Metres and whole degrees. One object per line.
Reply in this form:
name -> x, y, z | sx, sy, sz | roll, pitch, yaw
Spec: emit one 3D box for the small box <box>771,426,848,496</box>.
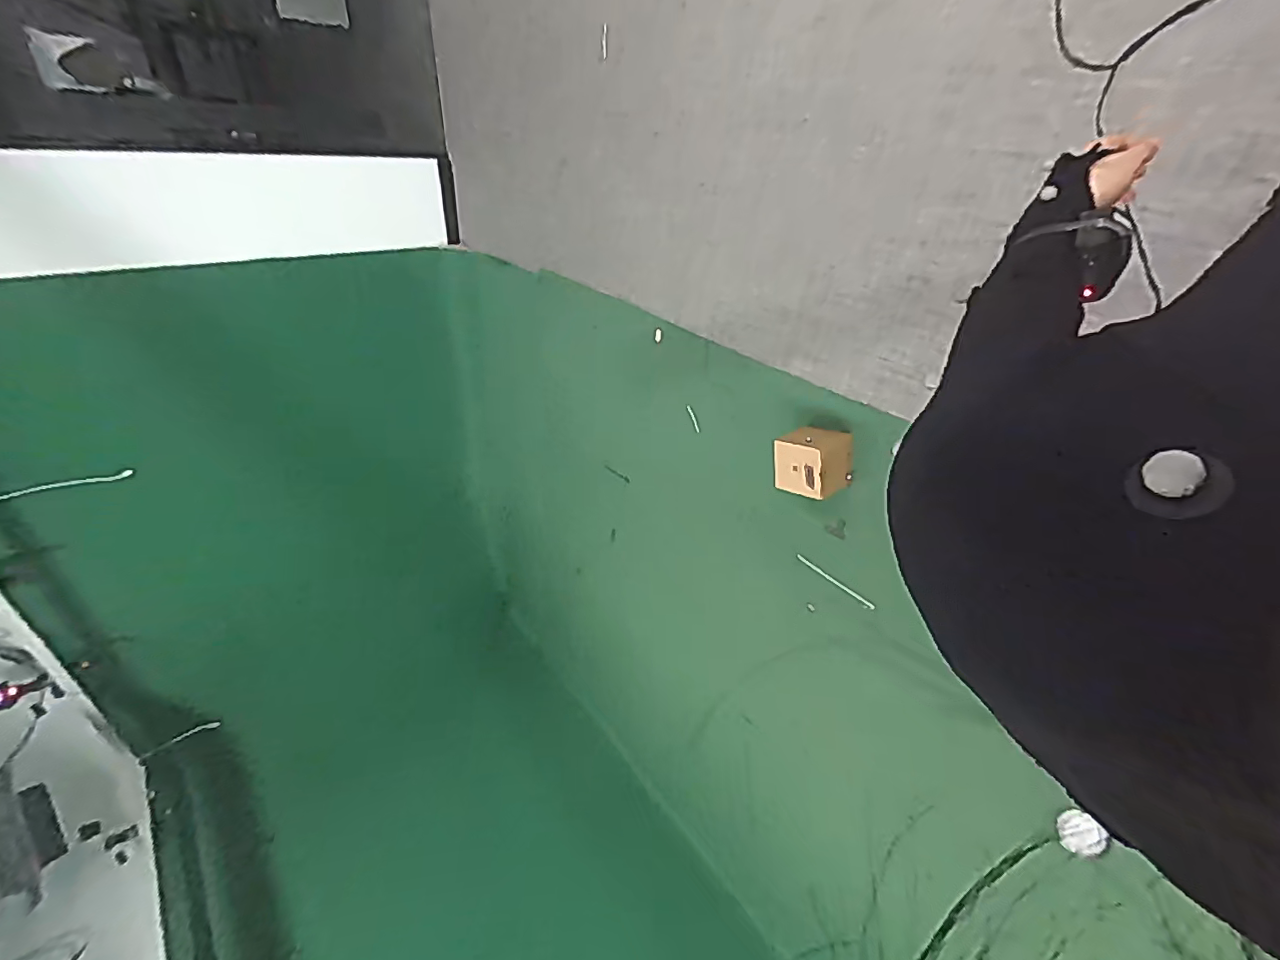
small box -> 0.542, -0.067, 1.723 | 0.179, 0.176, 0.168 | 19, 123, 48
